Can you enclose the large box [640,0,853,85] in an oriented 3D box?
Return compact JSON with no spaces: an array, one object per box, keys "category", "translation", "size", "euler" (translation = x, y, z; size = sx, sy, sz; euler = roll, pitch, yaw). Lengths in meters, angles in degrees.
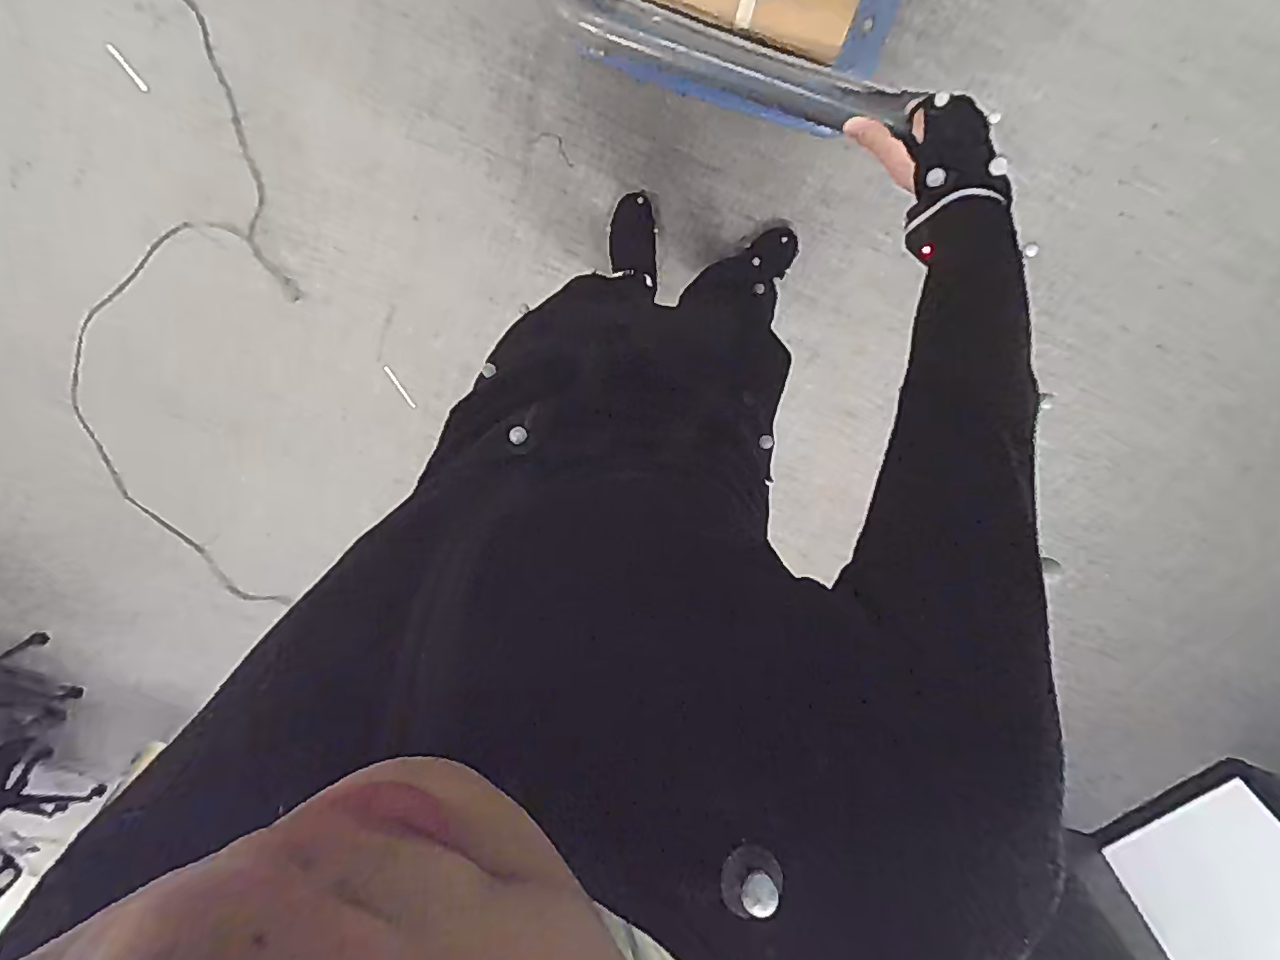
[{"category":"large box","translation":[0.197,-0.908,0.840],"size":[0.320,0.320,0.408],"euler":[14,121,-7]}]
